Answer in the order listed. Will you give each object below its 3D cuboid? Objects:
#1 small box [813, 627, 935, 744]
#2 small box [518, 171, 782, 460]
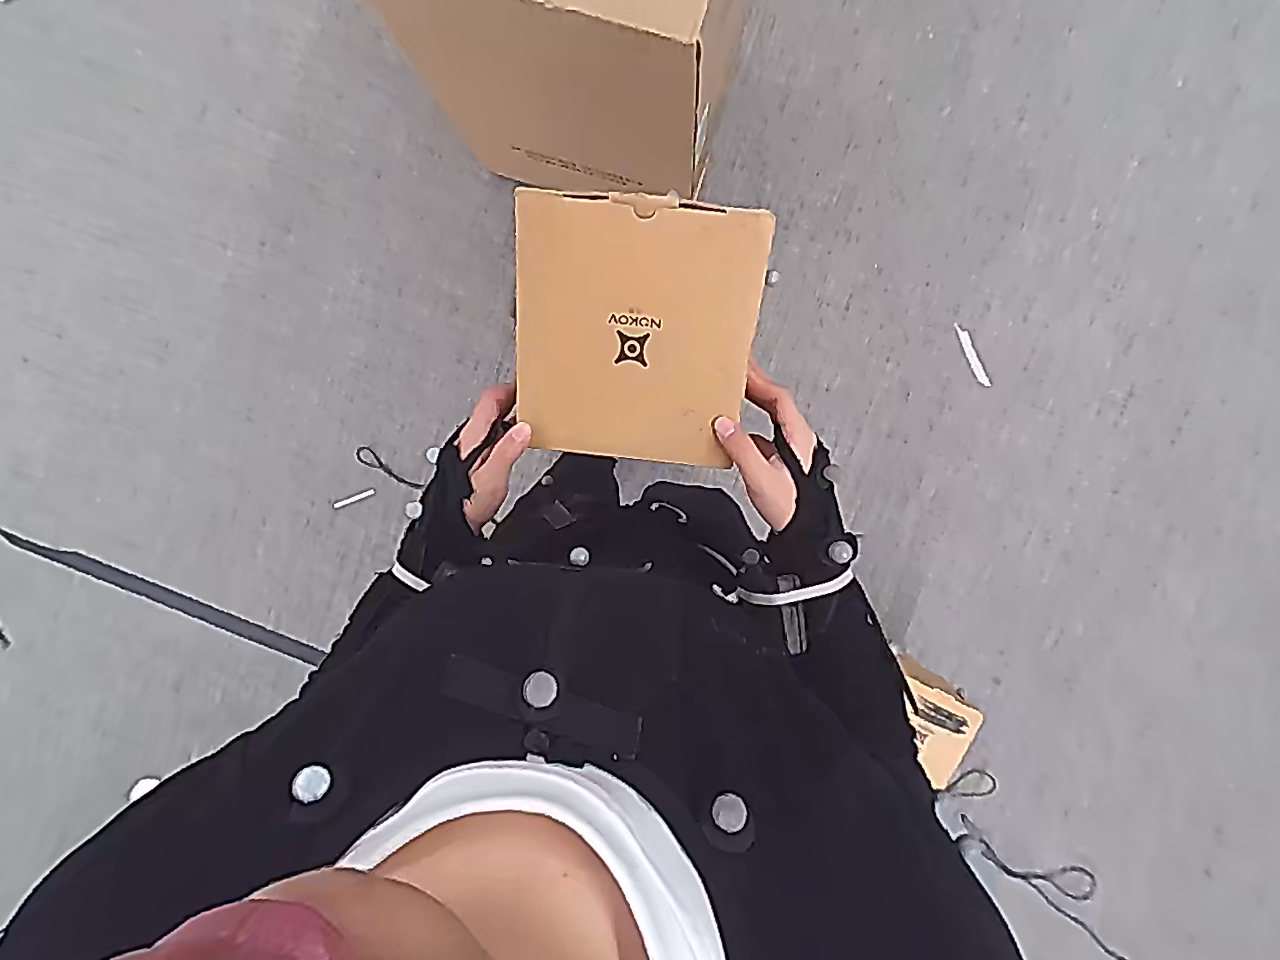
[{"bbox_3d":[0.533,0.465,1.256,0.179,0.176,0.168,27,93,3],"label":"small box"},{"bbox_3d":[0.005,-0.134,0.436,0.168,0.176,0.179,6,114,2],"label":"small box"}]
